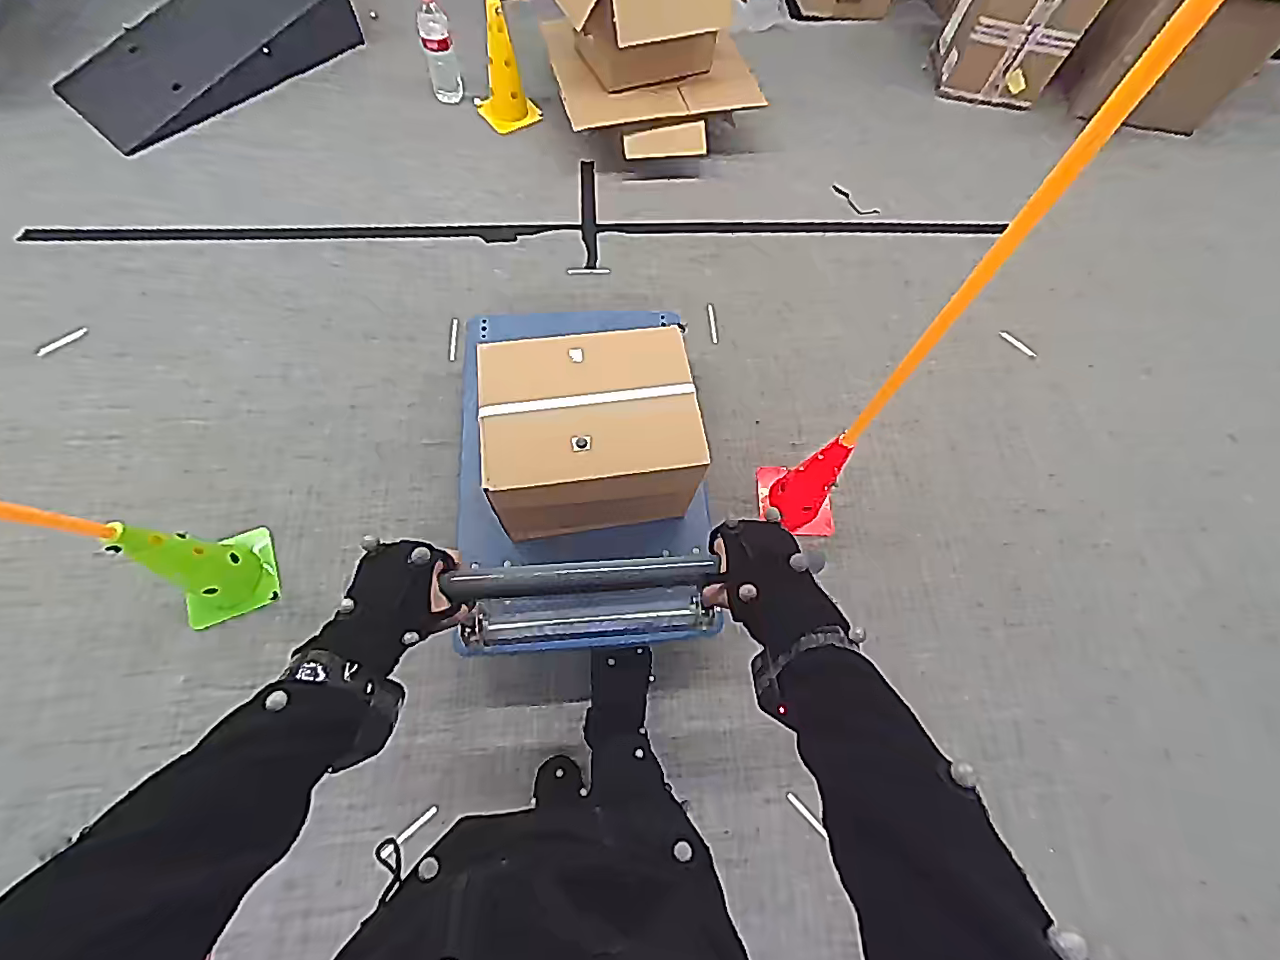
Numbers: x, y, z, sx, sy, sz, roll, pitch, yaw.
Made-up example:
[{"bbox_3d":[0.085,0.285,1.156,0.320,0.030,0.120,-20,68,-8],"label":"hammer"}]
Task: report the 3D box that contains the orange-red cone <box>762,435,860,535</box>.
[{"bbox_3d":[0.445,-0.014,1.323,0.199,0.360,0.198,4,67,-4],"label":"orange-red cone"}]
